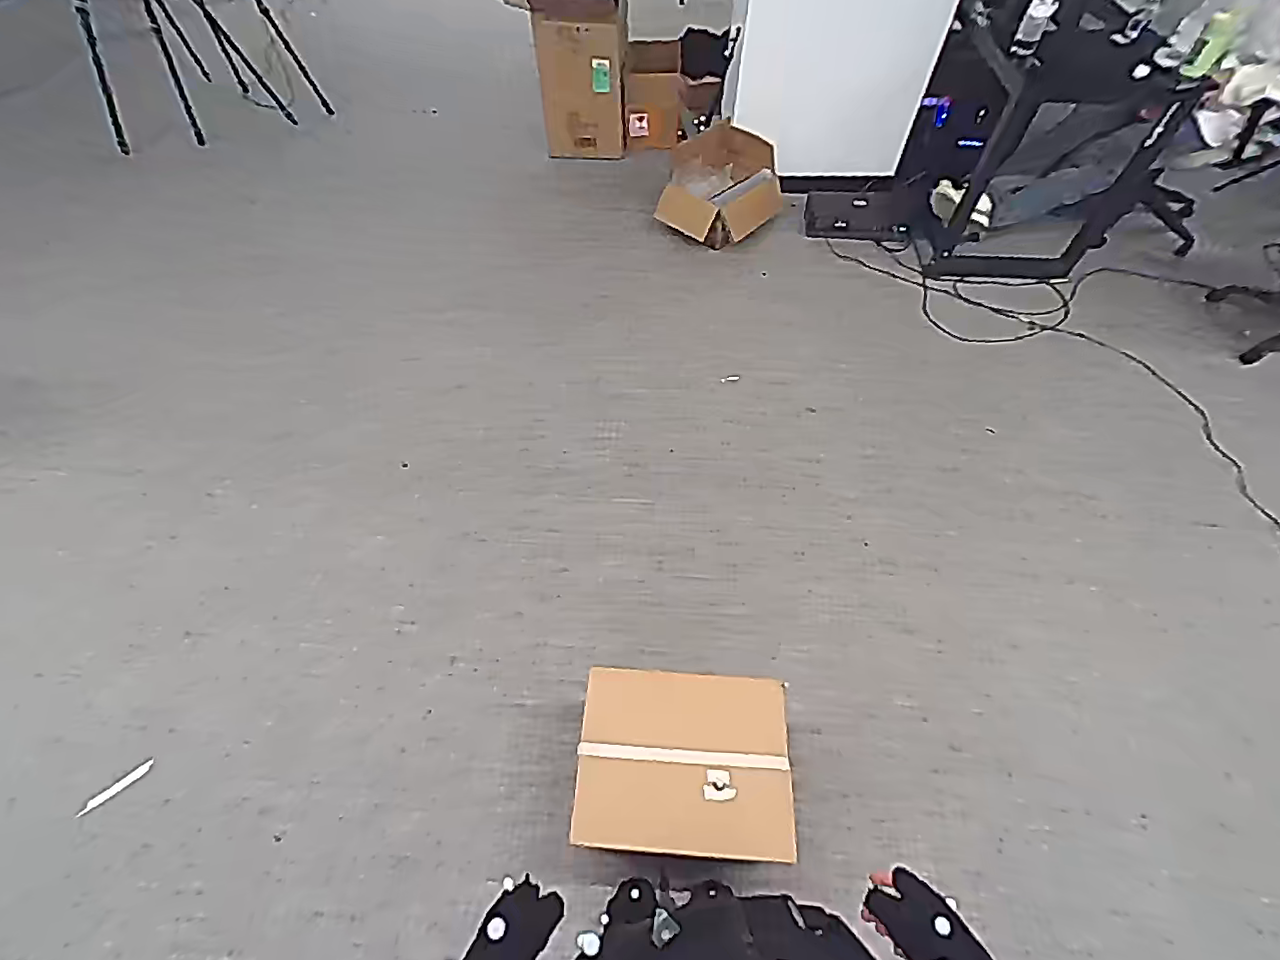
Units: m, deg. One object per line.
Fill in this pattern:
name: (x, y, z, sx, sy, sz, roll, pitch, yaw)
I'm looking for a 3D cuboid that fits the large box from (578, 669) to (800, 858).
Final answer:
large box: (0.090, 0.615, 1.162, 0.408, 0.320, 0.320, 3, 56, 2)
